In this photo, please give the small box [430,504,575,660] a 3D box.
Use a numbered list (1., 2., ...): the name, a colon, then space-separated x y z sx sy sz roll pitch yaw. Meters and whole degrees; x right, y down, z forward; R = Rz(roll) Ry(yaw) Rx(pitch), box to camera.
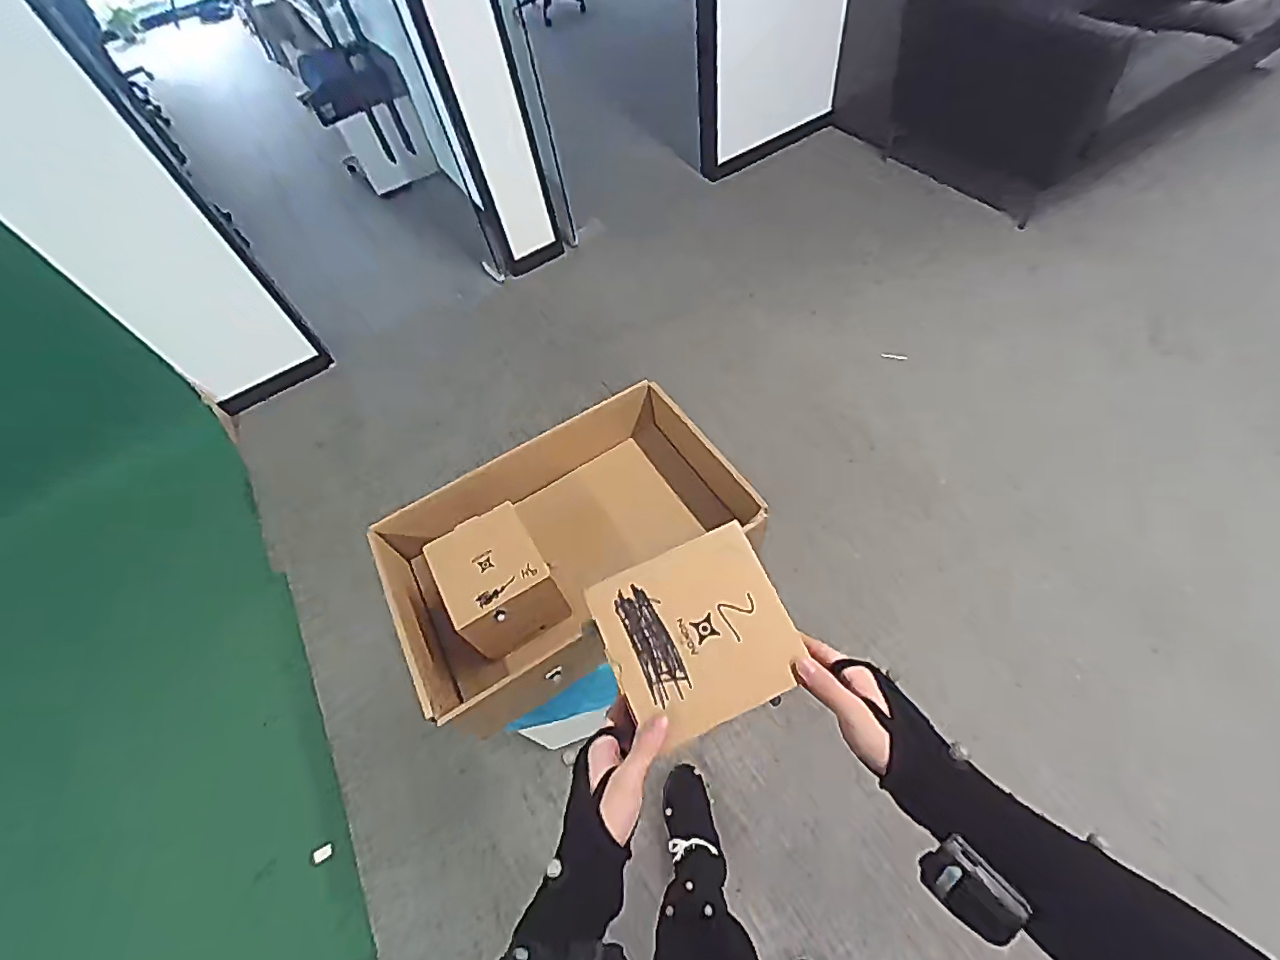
1. small box: -0.234 0.181 0.946 0.168 0.176 0.179 -30 55 -11
